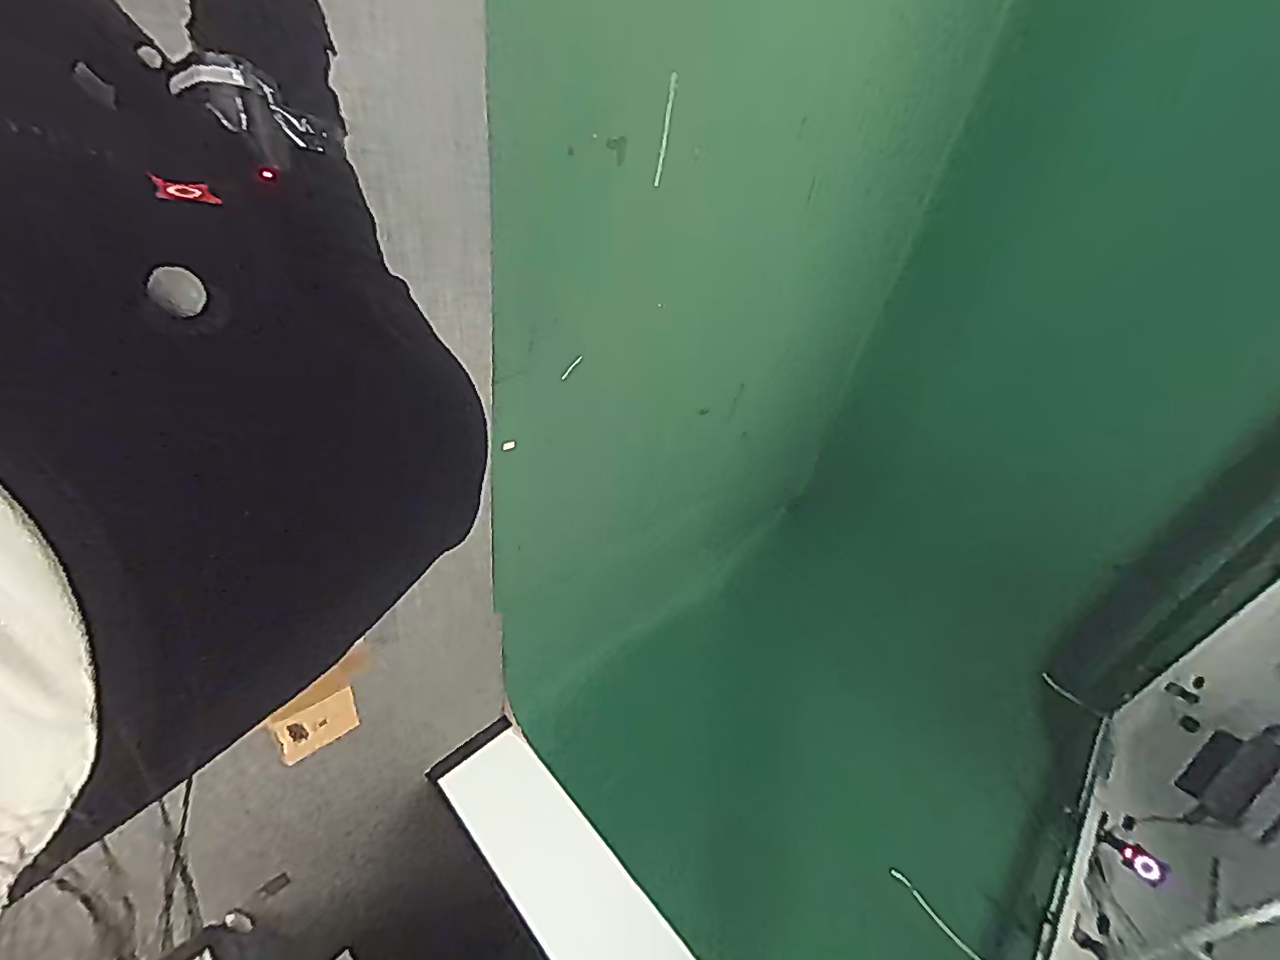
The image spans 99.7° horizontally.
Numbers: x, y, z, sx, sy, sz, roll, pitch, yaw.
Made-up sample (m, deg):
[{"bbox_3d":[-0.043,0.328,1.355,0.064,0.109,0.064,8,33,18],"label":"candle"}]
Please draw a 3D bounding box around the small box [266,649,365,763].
[{"bbox_3d":[-0.847,0.581,1.409,0.179,0.176,0.168,-21,132,-43],"label":"small box"}]
